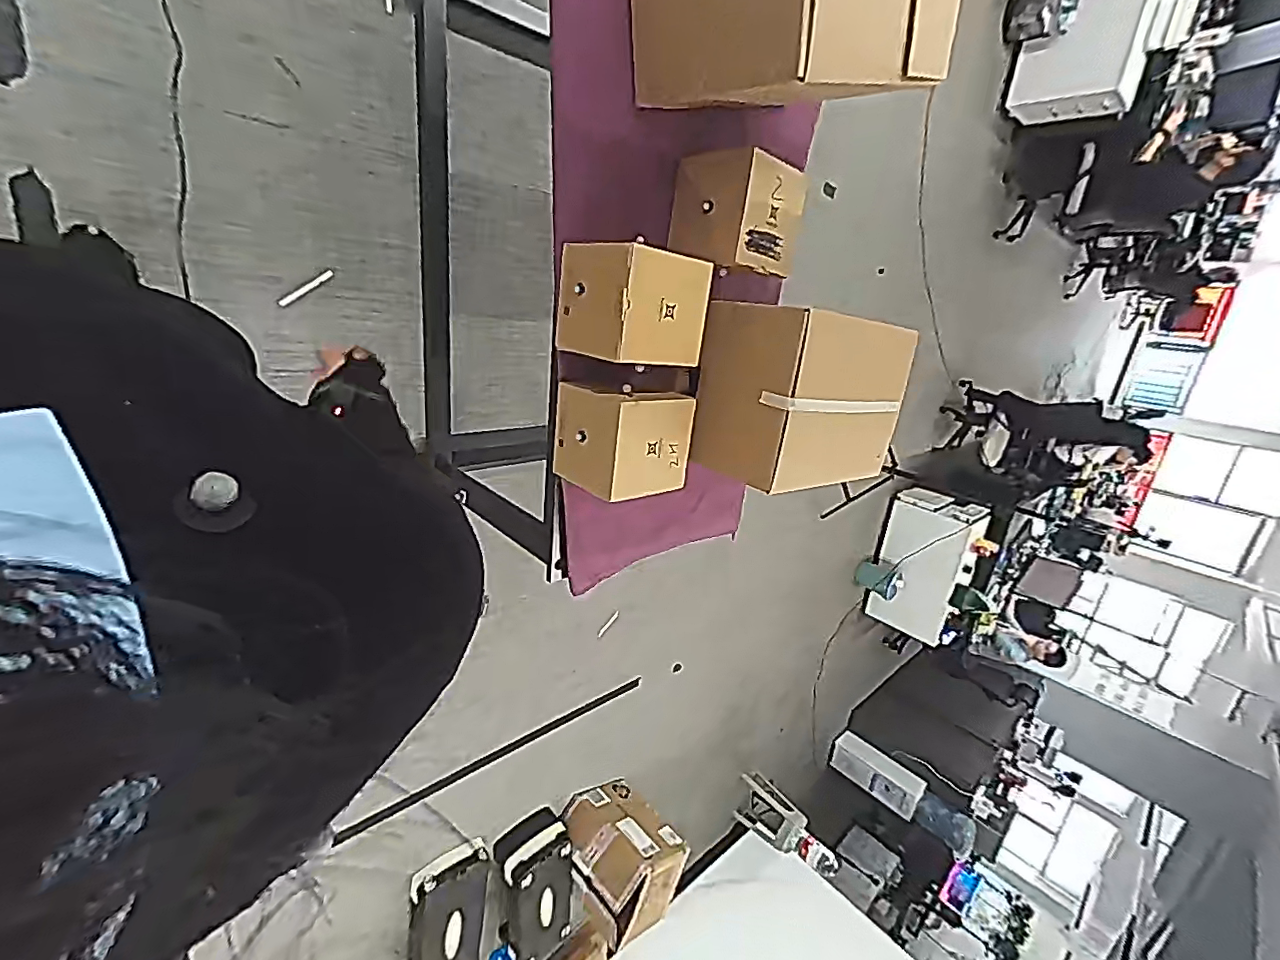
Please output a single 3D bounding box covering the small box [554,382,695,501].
[{"bbox_3d":[-0.033,-0.074,0.945,0.179,0.176,0.168,-9,114,-43],"label":"small box"}]
